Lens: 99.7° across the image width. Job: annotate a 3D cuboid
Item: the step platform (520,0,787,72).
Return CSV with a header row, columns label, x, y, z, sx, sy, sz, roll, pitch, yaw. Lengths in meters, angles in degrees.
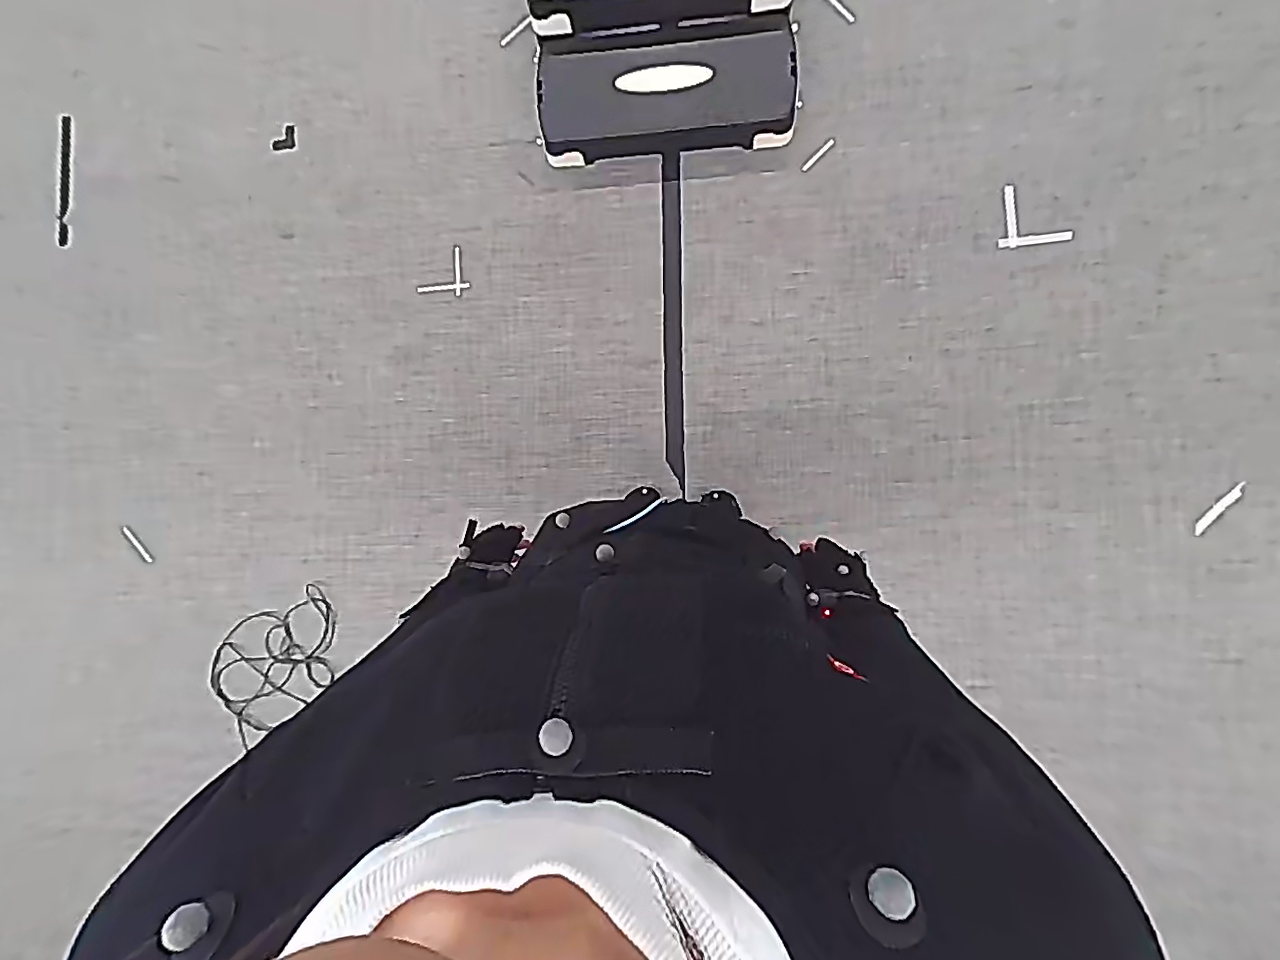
label,x,y,z,sx,sy,sz,roll,pitch,yaw
step platform,0.032,-1.278,1.370,0.684,0.204,0.286,-3,90,5
